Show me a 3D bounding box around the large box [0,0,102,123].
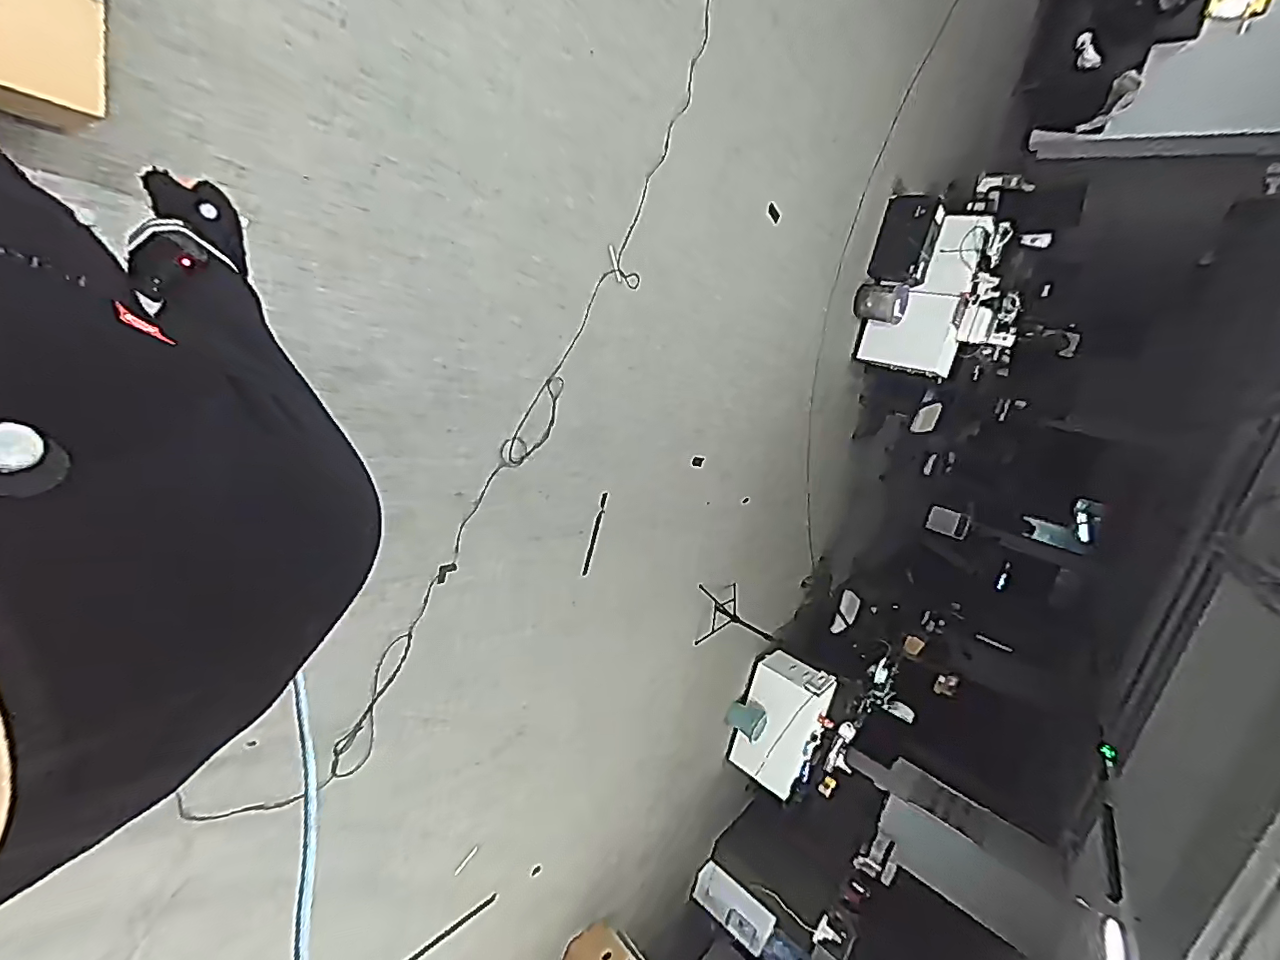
[{"bbox_3d":[-0.986,-0.708,0.674,0.408,0.320,0.320,-6,114,-52],"label":"large box"}]
